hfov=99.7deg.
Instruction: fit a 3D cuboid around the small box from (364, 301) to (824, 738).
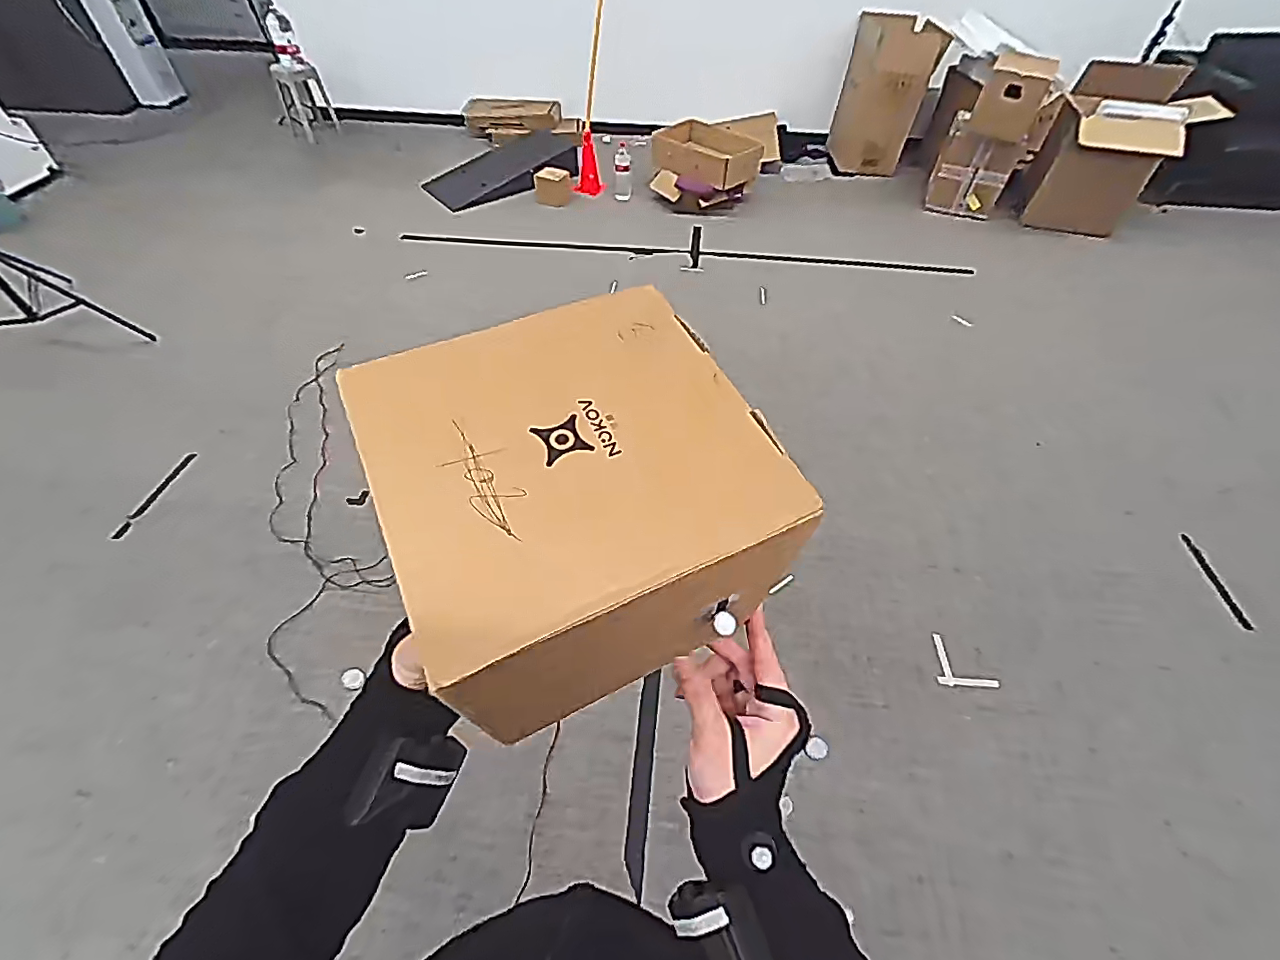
[{"bbox_3d":[-0.031,0.030,0.327,0.179,0.176,0.168,-23,62,-16],"label":"small box"}]
